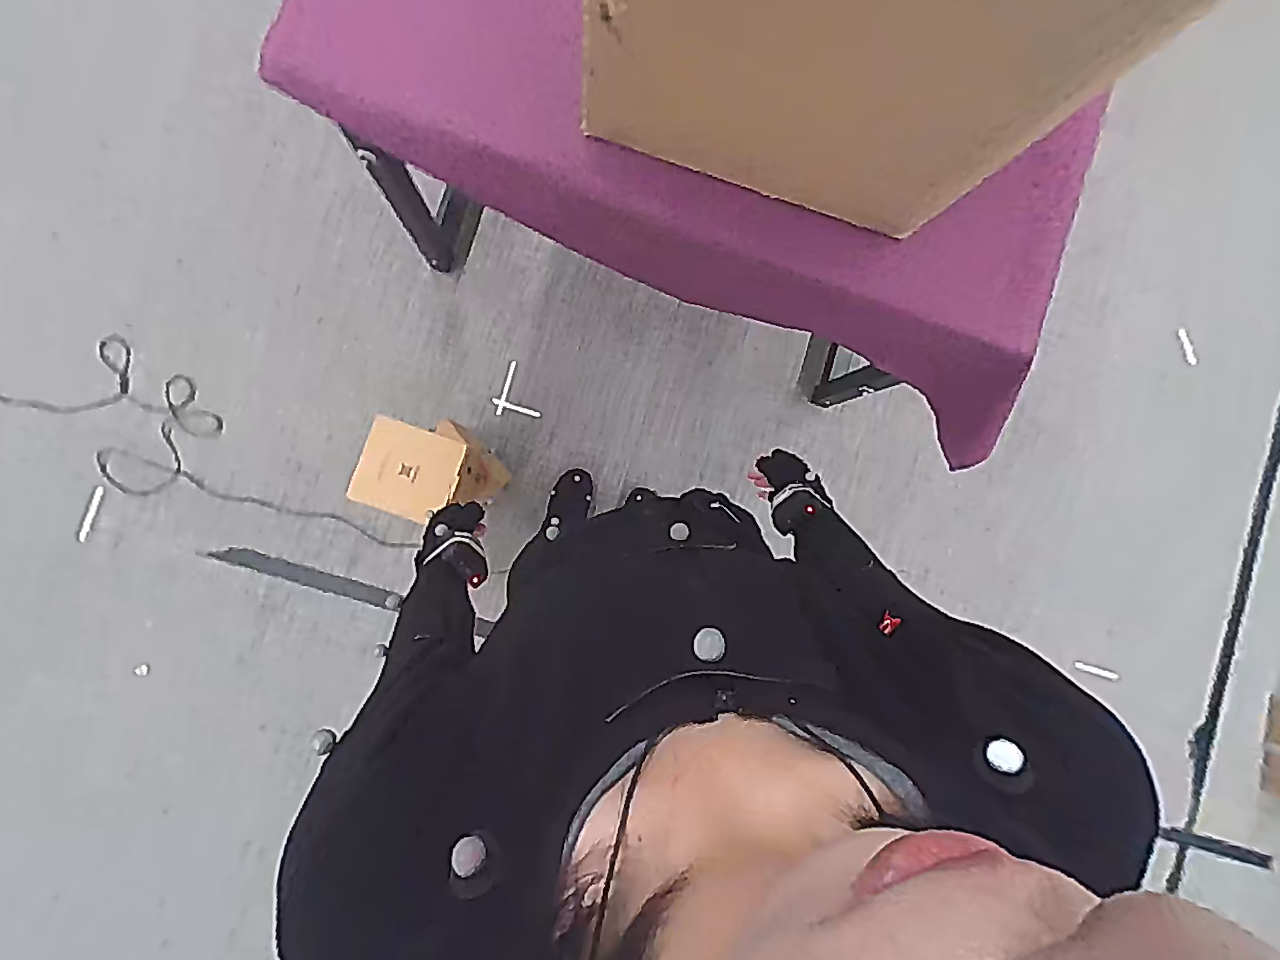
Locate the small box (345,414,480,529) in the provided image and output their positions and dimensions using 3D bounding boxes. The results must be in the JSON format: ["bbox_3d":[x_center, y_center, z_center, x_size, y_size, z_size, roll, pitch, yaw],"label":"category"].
[{"bbox_3d":[-0.430,-0.014,1.057,0.179,0.176,0.168,20,86,-6],"label":"small box"}]

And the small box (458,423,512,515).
[{"bbox_3d":[-0.451,-0.020,1.384,0.168,0.176,0.179,-42,95,-6],"label":"small box"}]

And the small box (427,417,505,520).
[{"bbox_3d":[-0.429,-0.017,1.222,0.168,0.176,0.179,-40,94,-6],"label":"small box"}]
